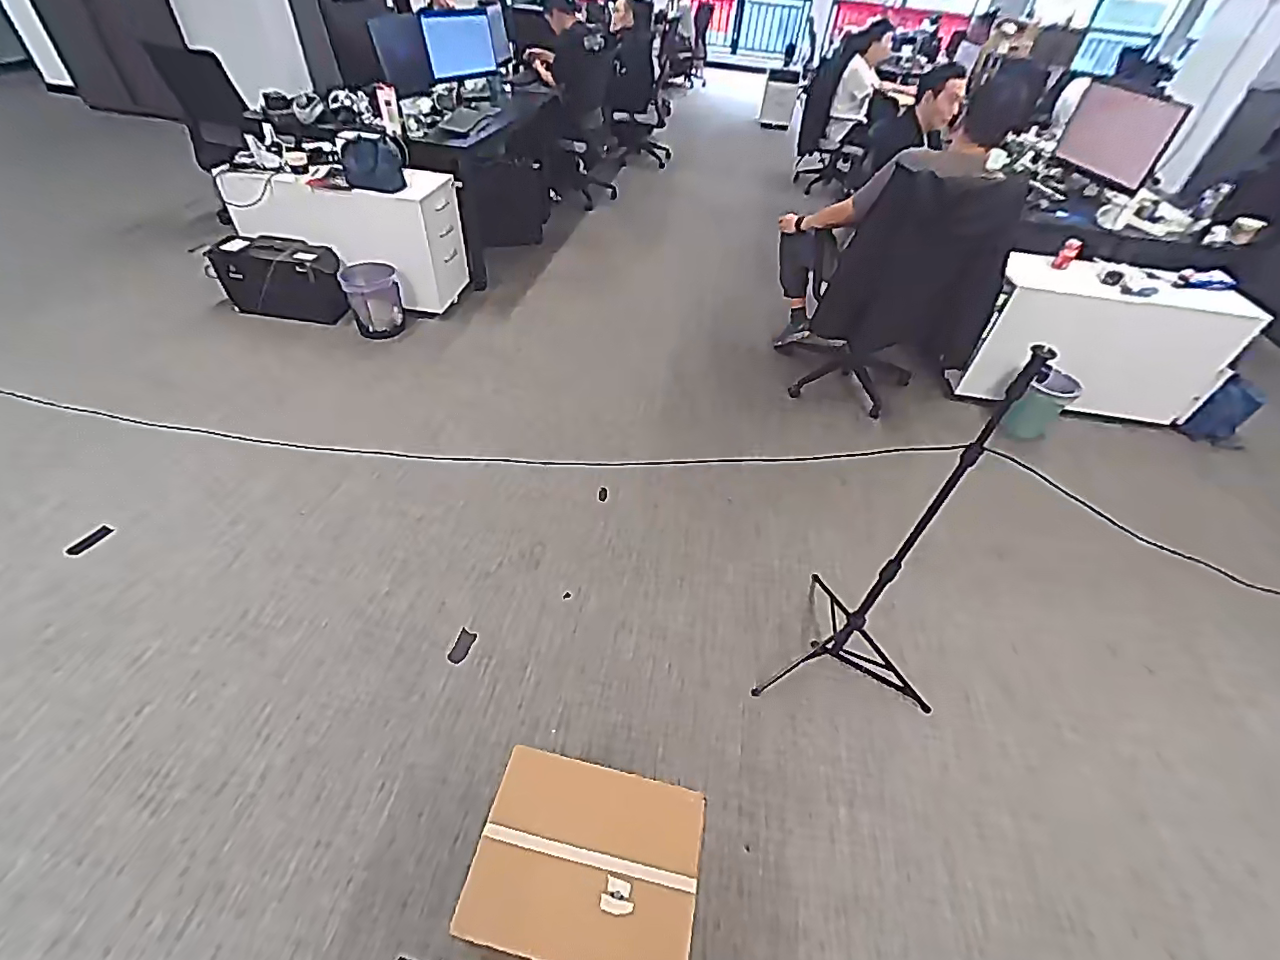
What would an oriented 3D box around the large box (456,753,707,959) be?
[{"bbox_3d":[-0.104,0.811,1.097,0.408,0.320,0.320,12,45,5],"label":"large box"}]
